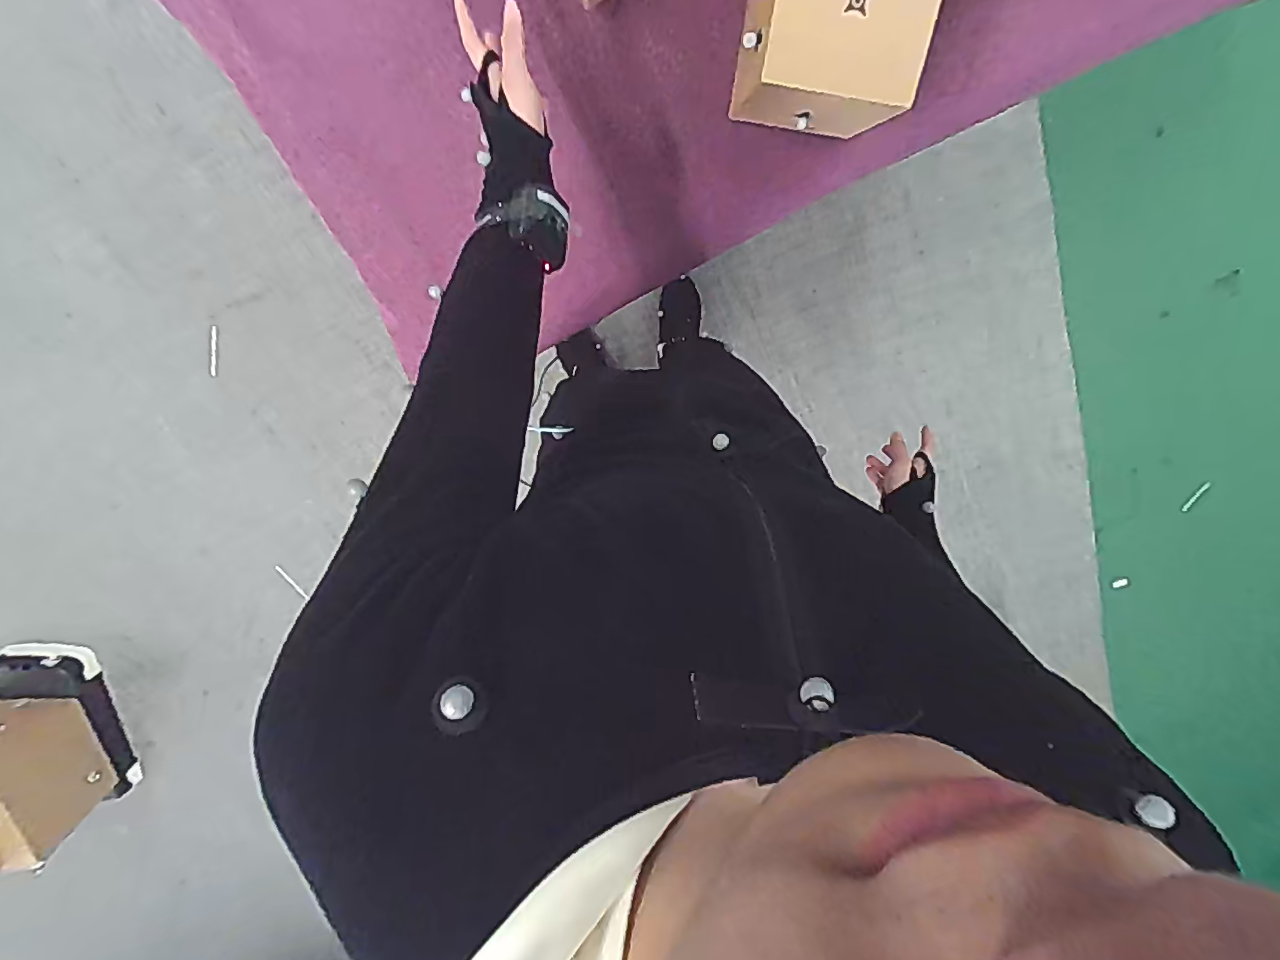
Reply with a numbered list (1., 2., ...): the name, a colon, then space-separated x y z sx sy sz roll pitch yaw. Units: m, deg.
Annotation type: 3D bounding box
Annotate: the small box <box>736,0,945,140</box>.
1. small box: 0.212 -0.499 0.598 0.168 0.176 0.179 6 112 -6
